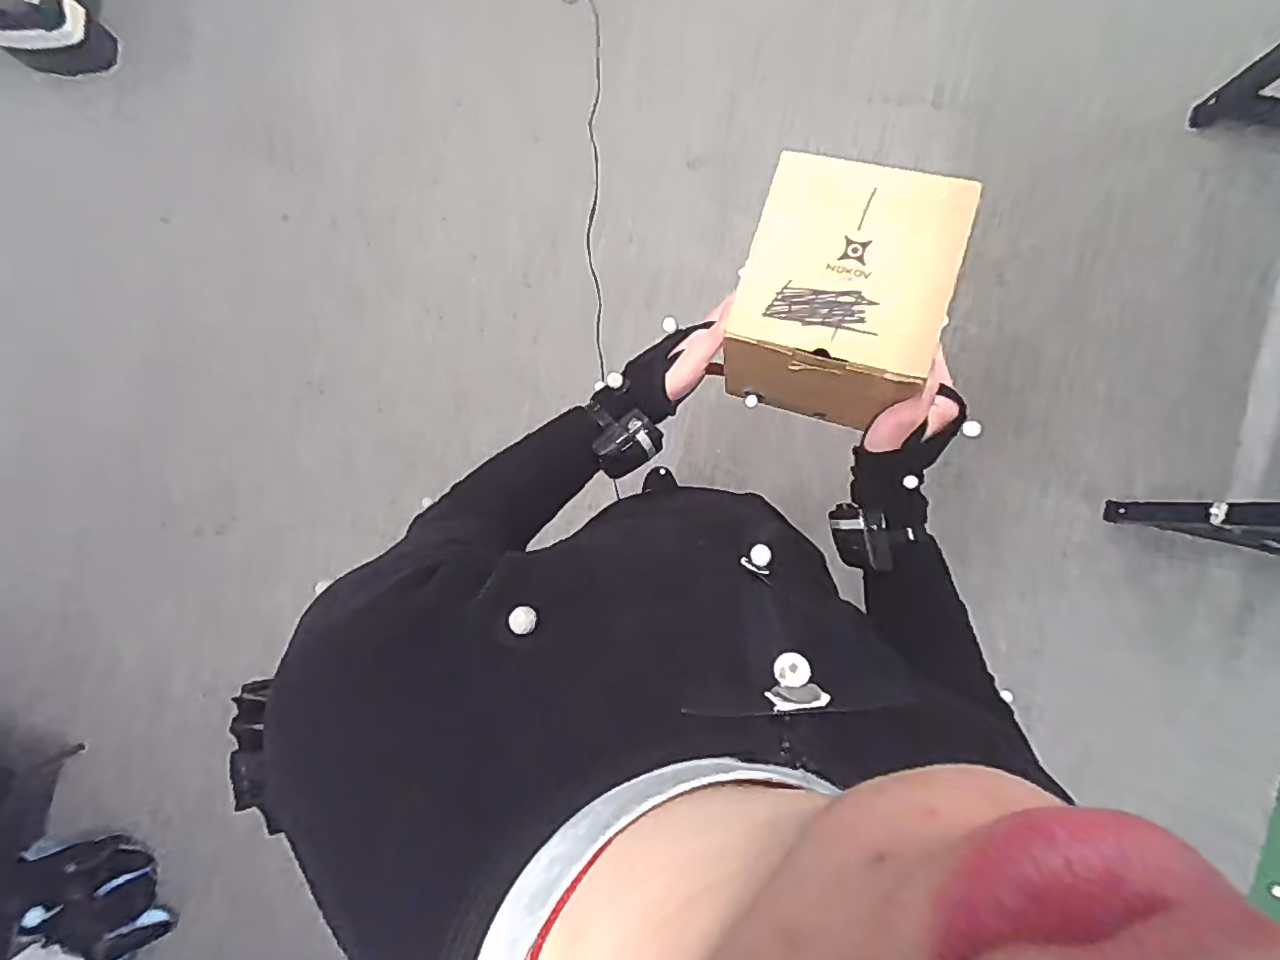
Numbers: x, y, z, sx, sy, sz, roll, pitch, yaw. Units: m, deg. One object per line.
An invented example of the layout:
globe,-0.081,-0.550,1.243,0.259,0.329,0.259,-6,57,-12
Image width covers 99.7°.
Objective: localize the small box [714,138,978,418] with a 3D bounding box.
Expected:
small box,0.179,-0.174,0.513,0.168,0.176,0.179,18,85,12
